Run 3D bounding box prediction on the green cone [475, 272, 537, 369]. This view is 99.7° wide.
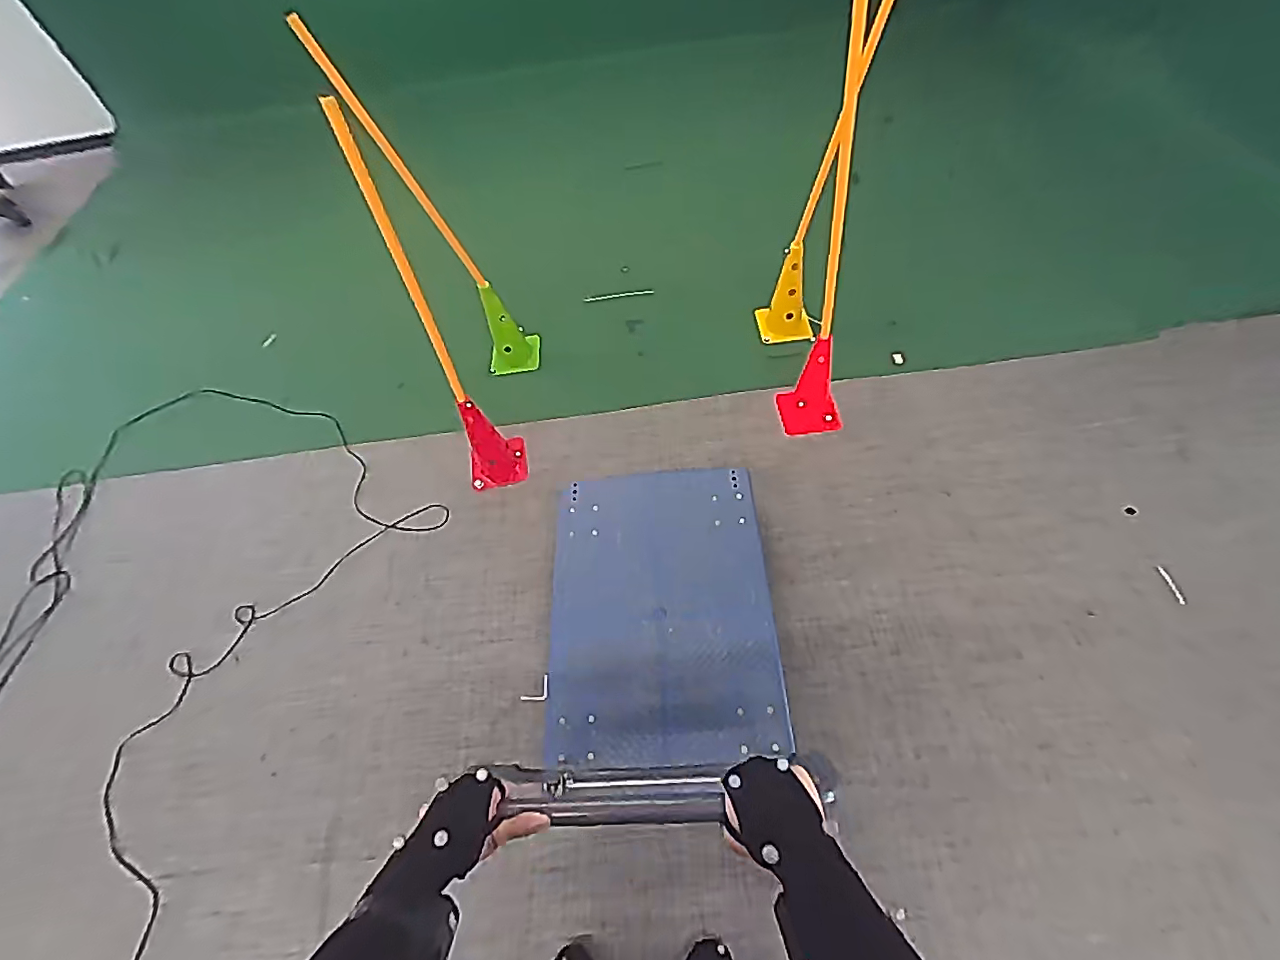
[{"bbox_3d":[-0.544,-0.629,2.075,0.200,0.368,0.202,-8,56,3],"label":"green cone"}]

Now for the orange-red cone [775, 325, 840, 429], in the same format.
[{"bbox_3d":[0.571,-0.355,1.760,0.198,0.360,0.199,-7,55,2],"label":"orange-red cone"}]
